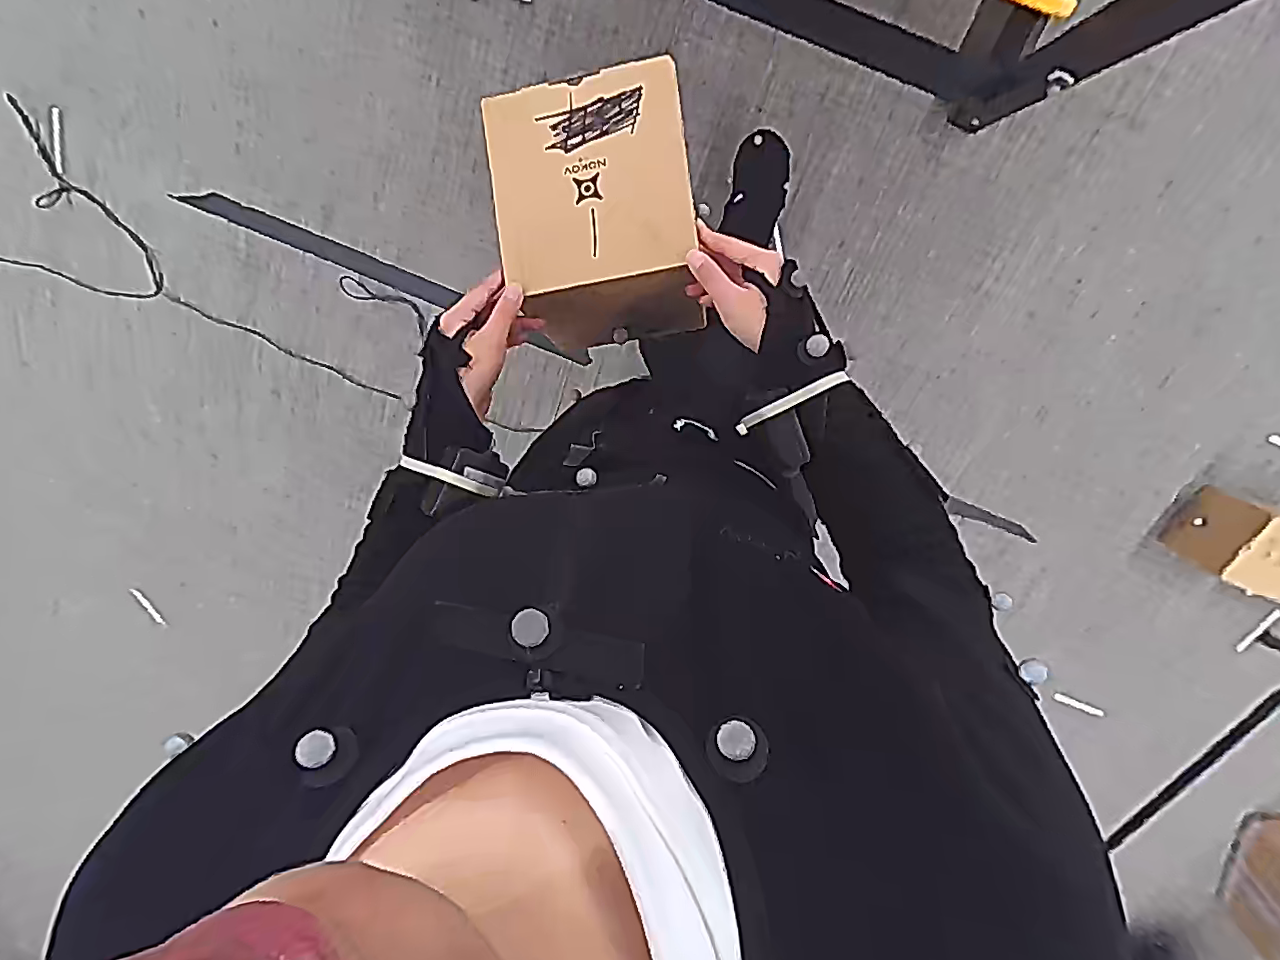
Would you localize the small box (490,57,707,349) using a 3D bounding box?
[{"bbox_3d":[-0.028,-0.242,0.518,0.168,0.176,0.179,-7,87,7],"label":"small box"}]
